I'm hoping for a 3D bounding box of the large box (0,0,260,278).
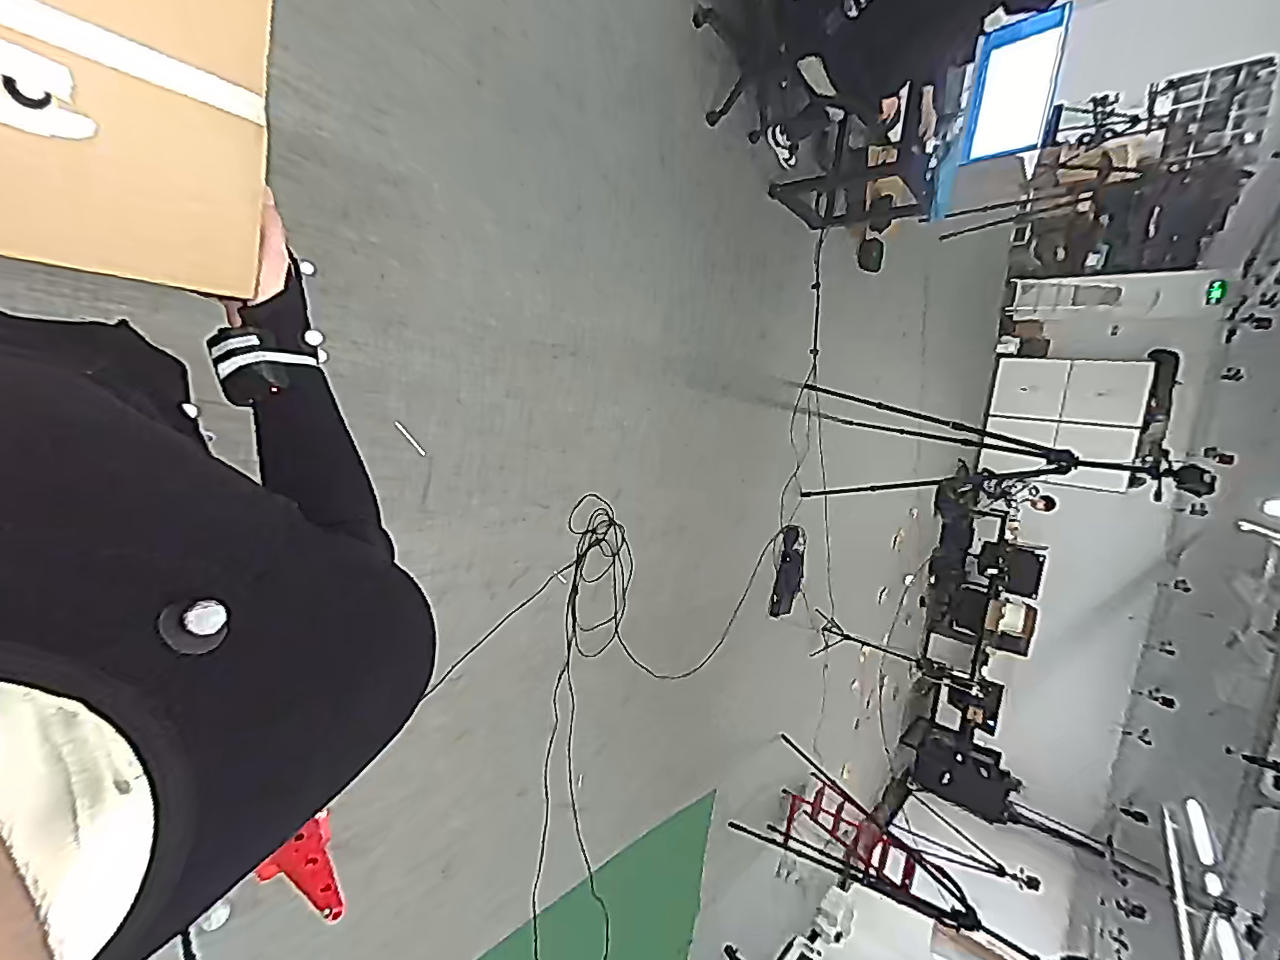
[{"bbox_3d":[-0.563,-0.365,0.388,0.408,0.320,0.320,-6,117,-52],"label":"large box"}]
